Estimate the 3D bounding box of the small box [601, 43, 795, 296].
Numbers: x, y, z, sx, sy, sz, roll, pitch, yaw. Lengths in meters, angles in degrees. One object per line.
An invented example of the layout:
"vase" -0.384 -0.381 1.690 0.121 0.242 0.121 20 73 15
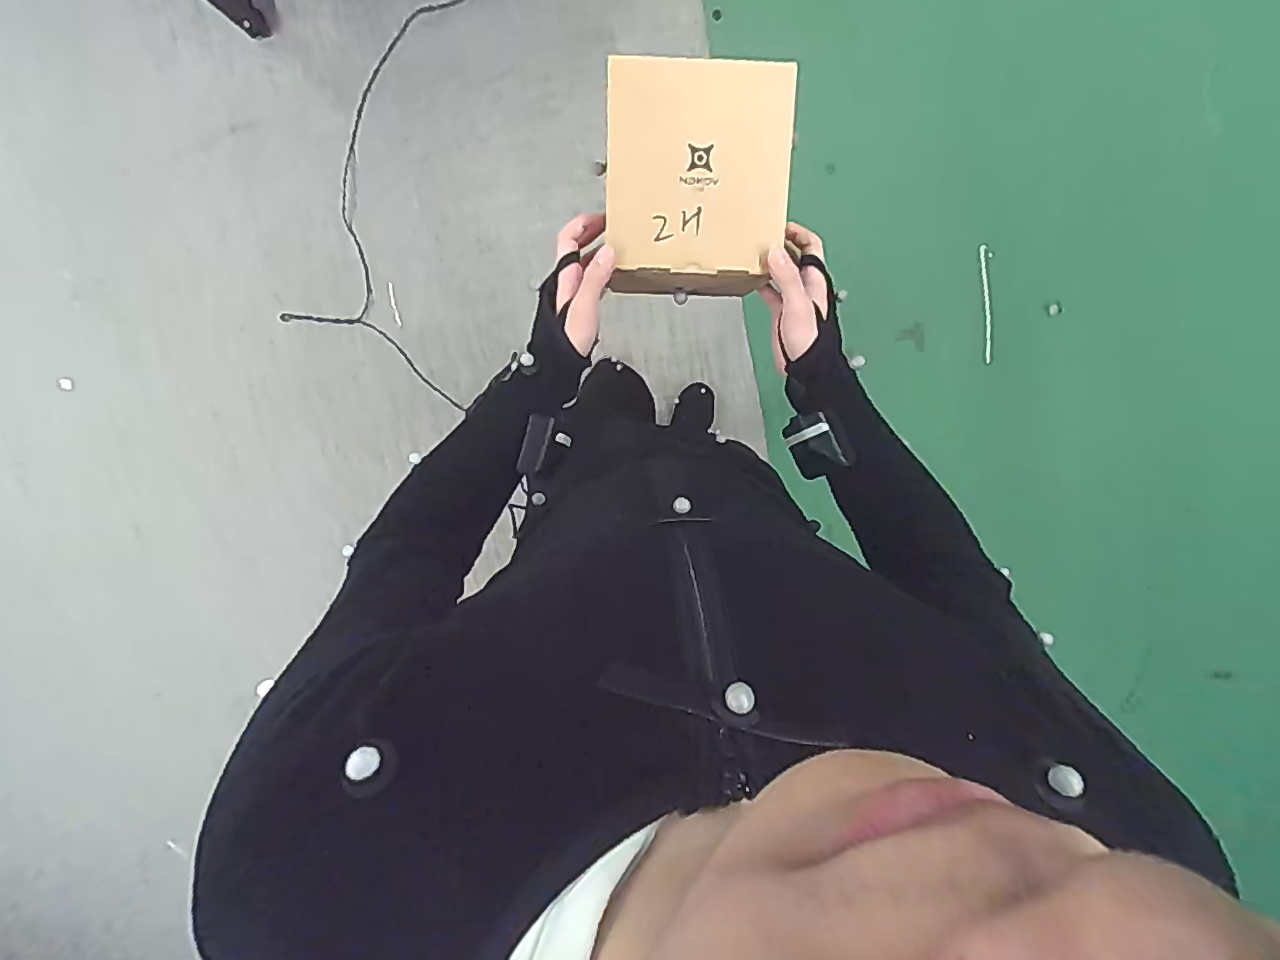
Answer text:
"small box" 0.047 -0.295 0.553 0.168 0.176 0.179 2 101 -1
